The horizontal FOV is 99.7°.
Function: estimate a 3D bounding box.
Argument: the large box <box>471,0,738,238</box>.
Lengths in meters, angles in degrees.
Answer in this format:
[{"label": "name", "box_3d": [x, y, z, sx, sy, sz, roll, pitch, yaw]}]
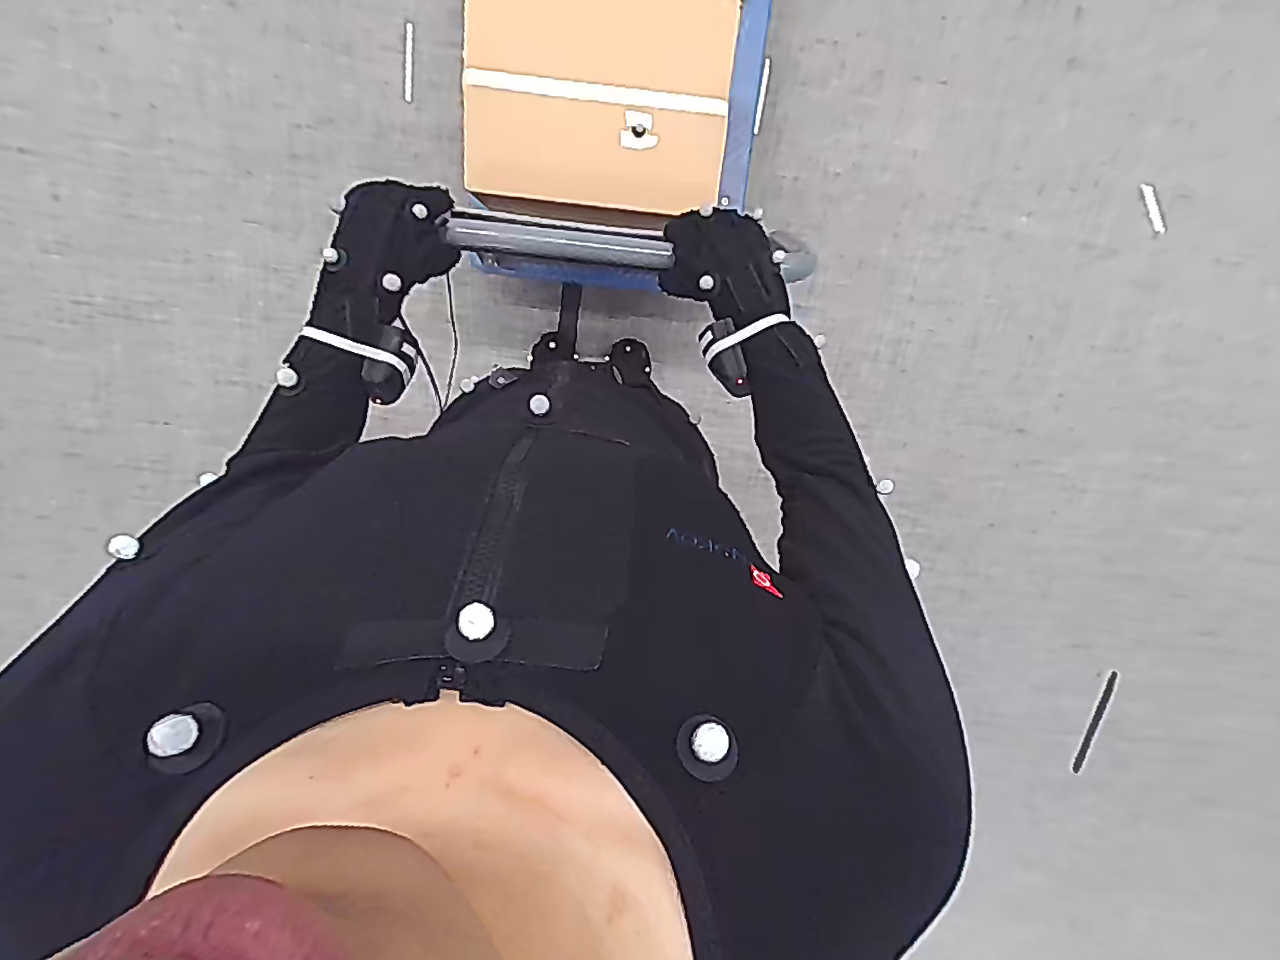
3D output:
[{"label": "large box", "box_3d": [-0.070, -0.643, 0.982, 0.408, 0.320, 0.320, 4, 106, -5]}]
